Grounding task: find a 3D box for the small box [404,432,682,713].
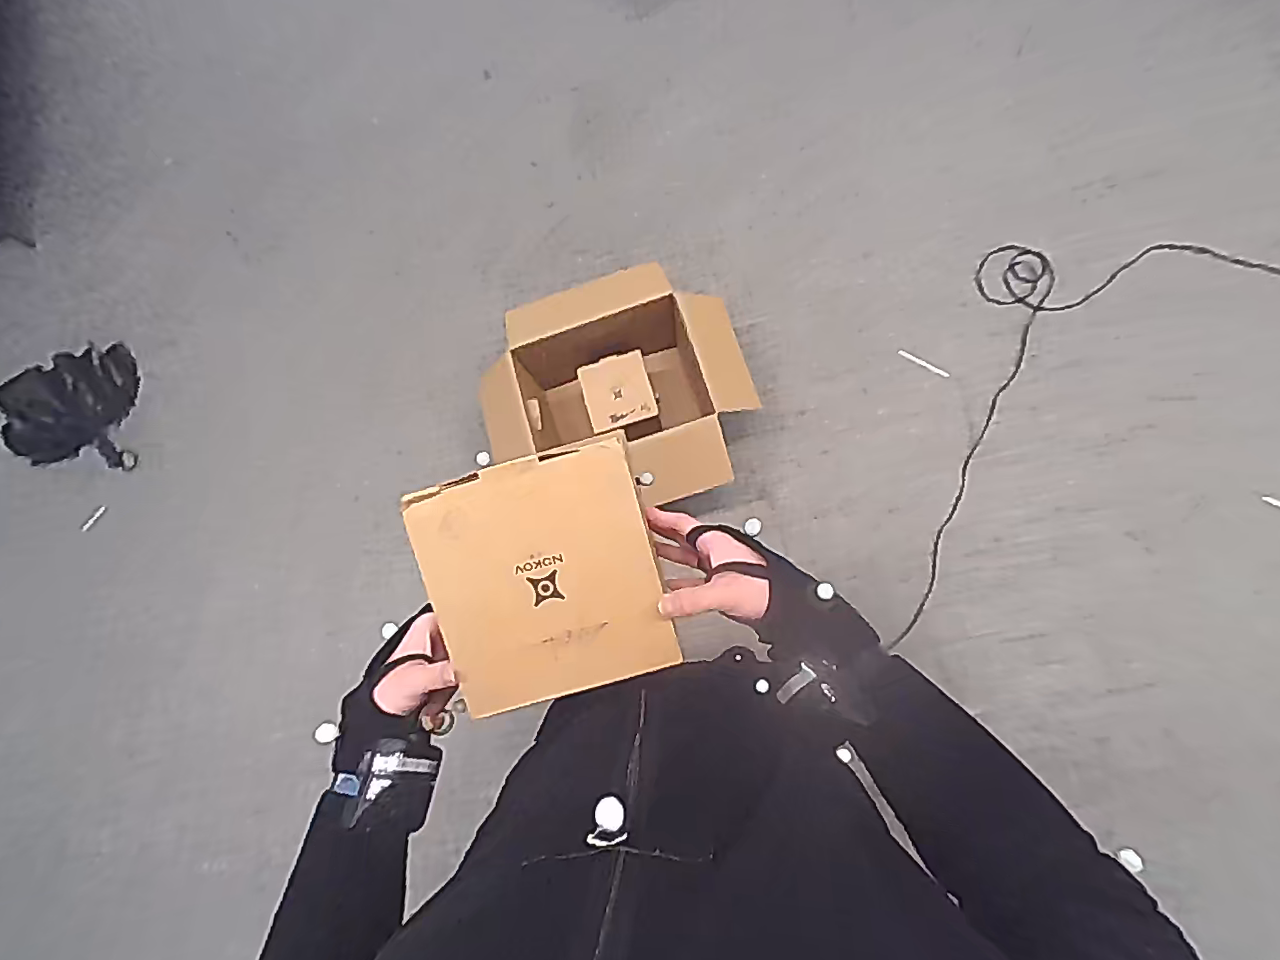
[{"bbox_3d":[-0.069,0.061,0.468,0.168,0.176,0.179,-15,97,2],"label":"small box"}]
